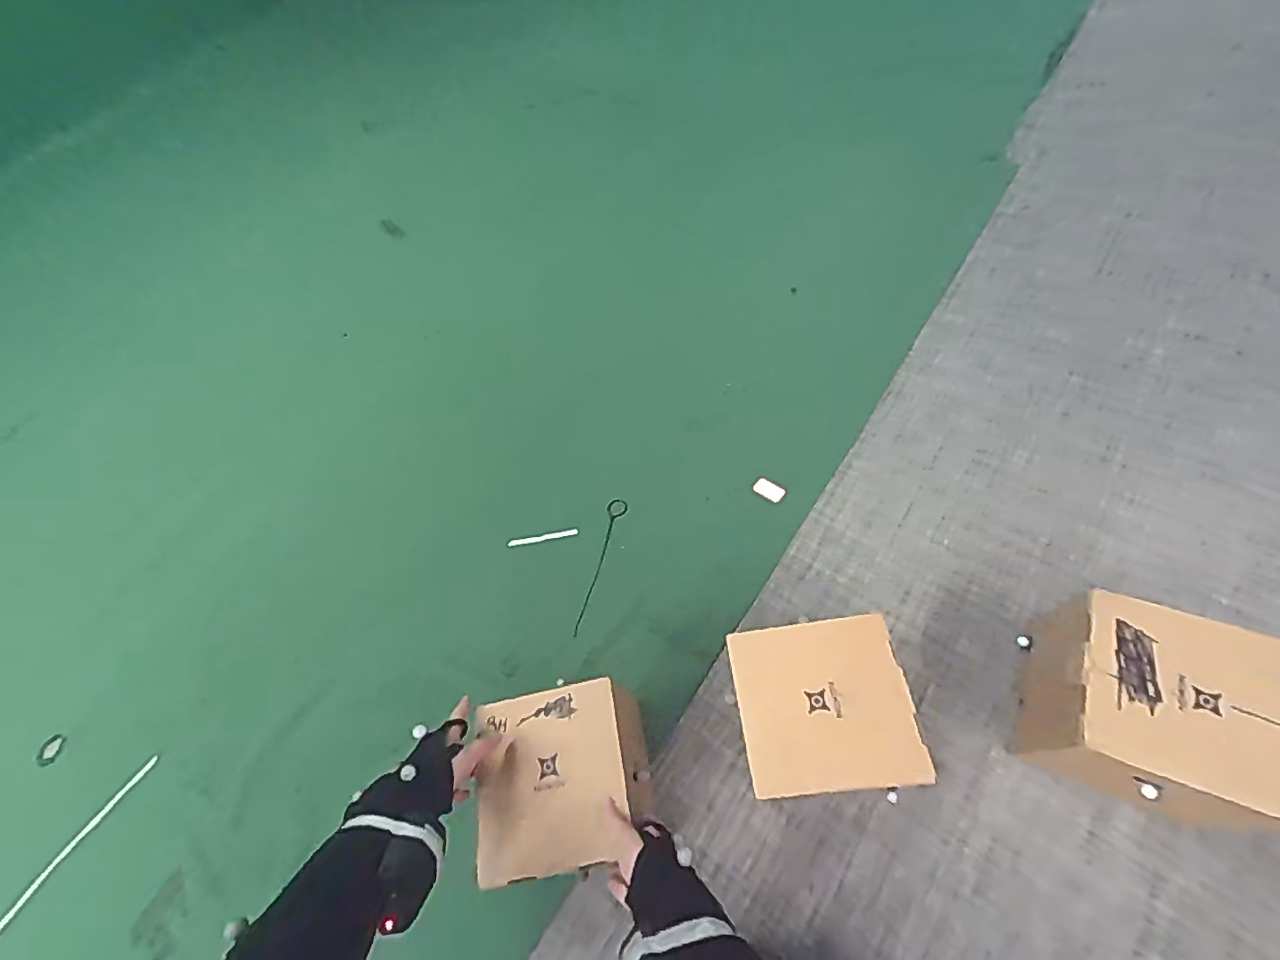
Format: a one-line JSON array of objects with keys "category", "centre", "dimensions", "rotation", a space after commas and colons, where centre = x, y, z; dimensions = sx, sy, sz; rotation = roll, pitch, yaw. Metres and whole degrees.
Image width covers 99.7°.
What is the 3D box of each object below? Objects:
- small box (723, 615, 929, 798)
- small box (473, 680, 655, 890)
[{"category": "small box", "centre": [0.201, 0.271, 0.632], "dimensions": [0.179, 0.176, 0.168], "rotation": [-10, 59, 6]}, {"category": "small box", "centre": [-0.085, 0.355, 0.644], "dimensions": [0.168, 0.176, 0.179], "rotation": [-14, 59, 4]}]
